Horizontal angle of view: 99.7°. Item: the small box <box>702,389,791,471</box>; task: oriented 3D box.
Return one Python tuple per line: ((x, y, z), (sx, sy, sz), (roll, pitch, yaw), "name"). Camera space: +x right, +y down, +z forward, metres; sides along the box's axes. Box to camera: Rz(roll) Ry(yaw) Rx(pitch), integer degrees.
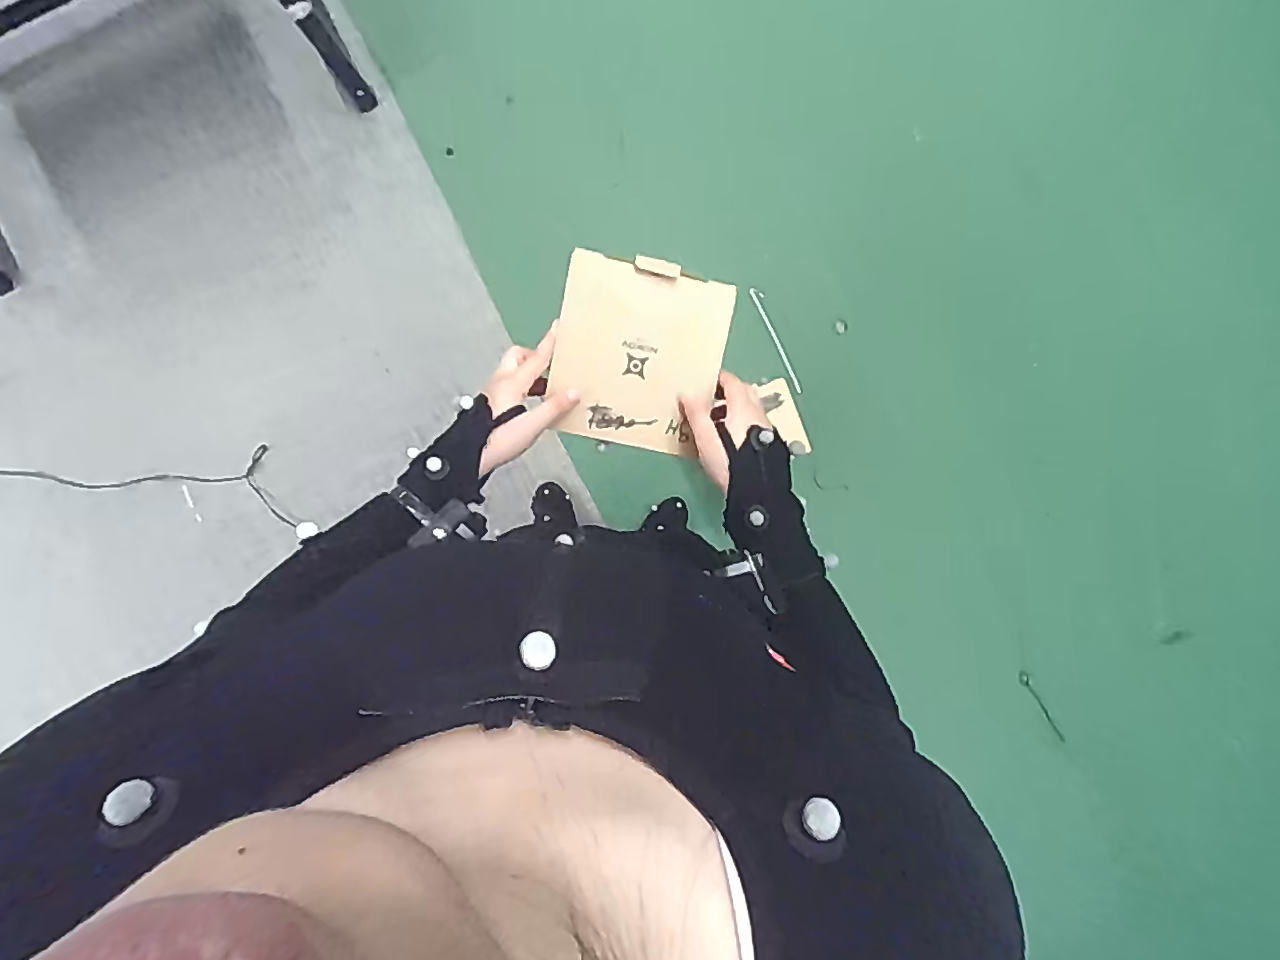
((0.267, -0.123, 1.411), (0.179, 0.176, 0.168), (-19, 91, 0), "small box")
